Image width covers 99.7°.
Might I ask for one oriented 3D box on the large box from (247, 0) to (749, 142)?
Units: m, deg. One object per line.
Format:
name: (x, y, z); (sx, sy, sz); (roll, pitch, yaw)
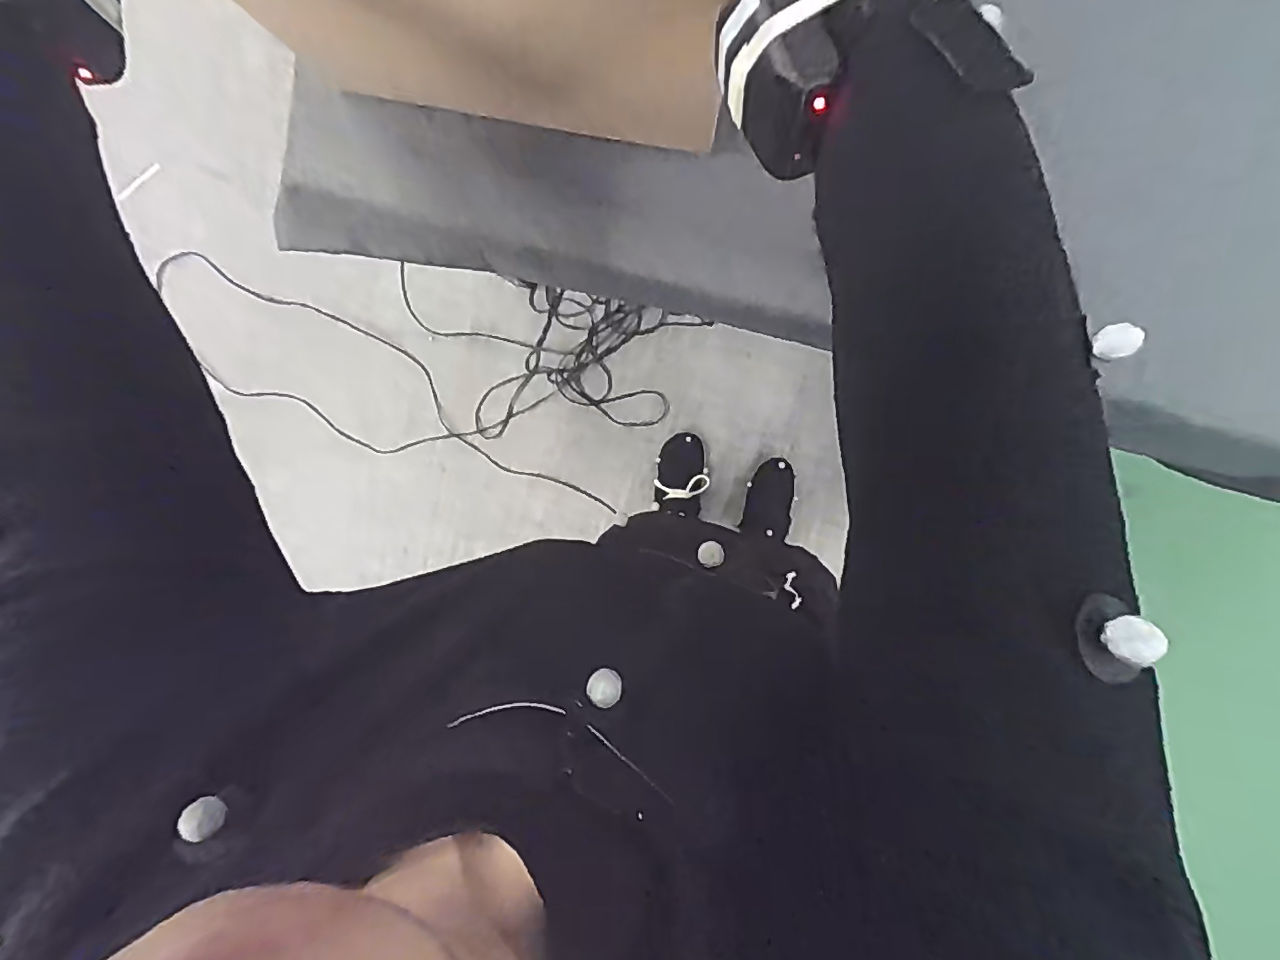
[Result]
large box: (-0.101, -0.493, 0.381); (0.408, 0.320, 0.320); (10, 101, 1)
